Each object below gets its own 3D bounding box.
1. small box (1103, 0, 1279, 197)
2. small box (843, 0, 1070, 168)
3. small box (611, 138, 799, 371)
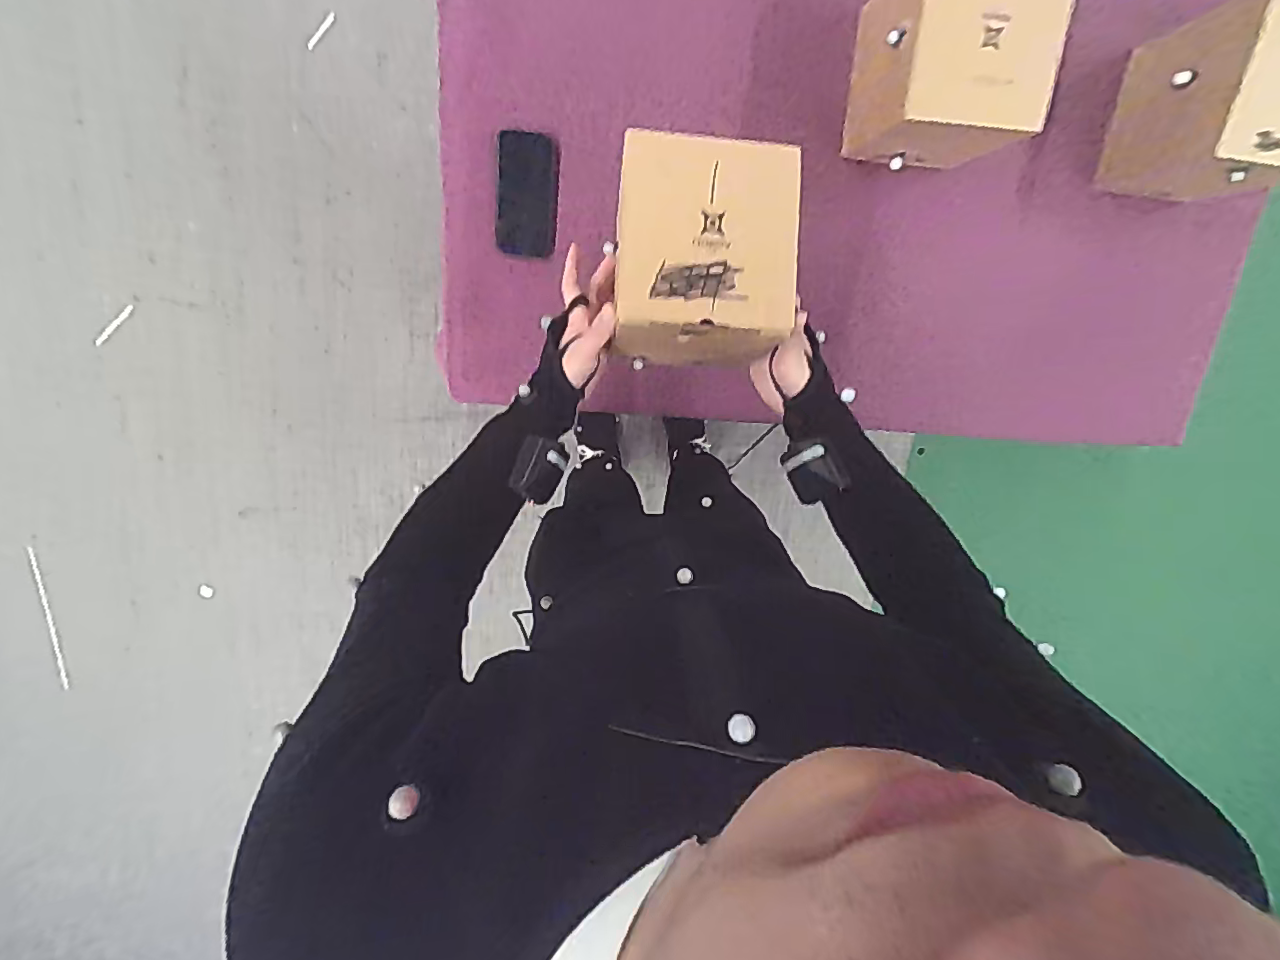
[{"bbox_3d":[0.752,-0.484,0.688,0.168,0.176,0.179,4,106,-5],"label":"small box"},{"bbox_3d":[0.365,-0.502,0.651,0.168,0.176,0.179,2,107,-5],"label":"small box"},{"bbox_3d":[0.055,-0.217,0.569,0.168,0.176,0.179,3,90,-4],"label":"small box"}]
